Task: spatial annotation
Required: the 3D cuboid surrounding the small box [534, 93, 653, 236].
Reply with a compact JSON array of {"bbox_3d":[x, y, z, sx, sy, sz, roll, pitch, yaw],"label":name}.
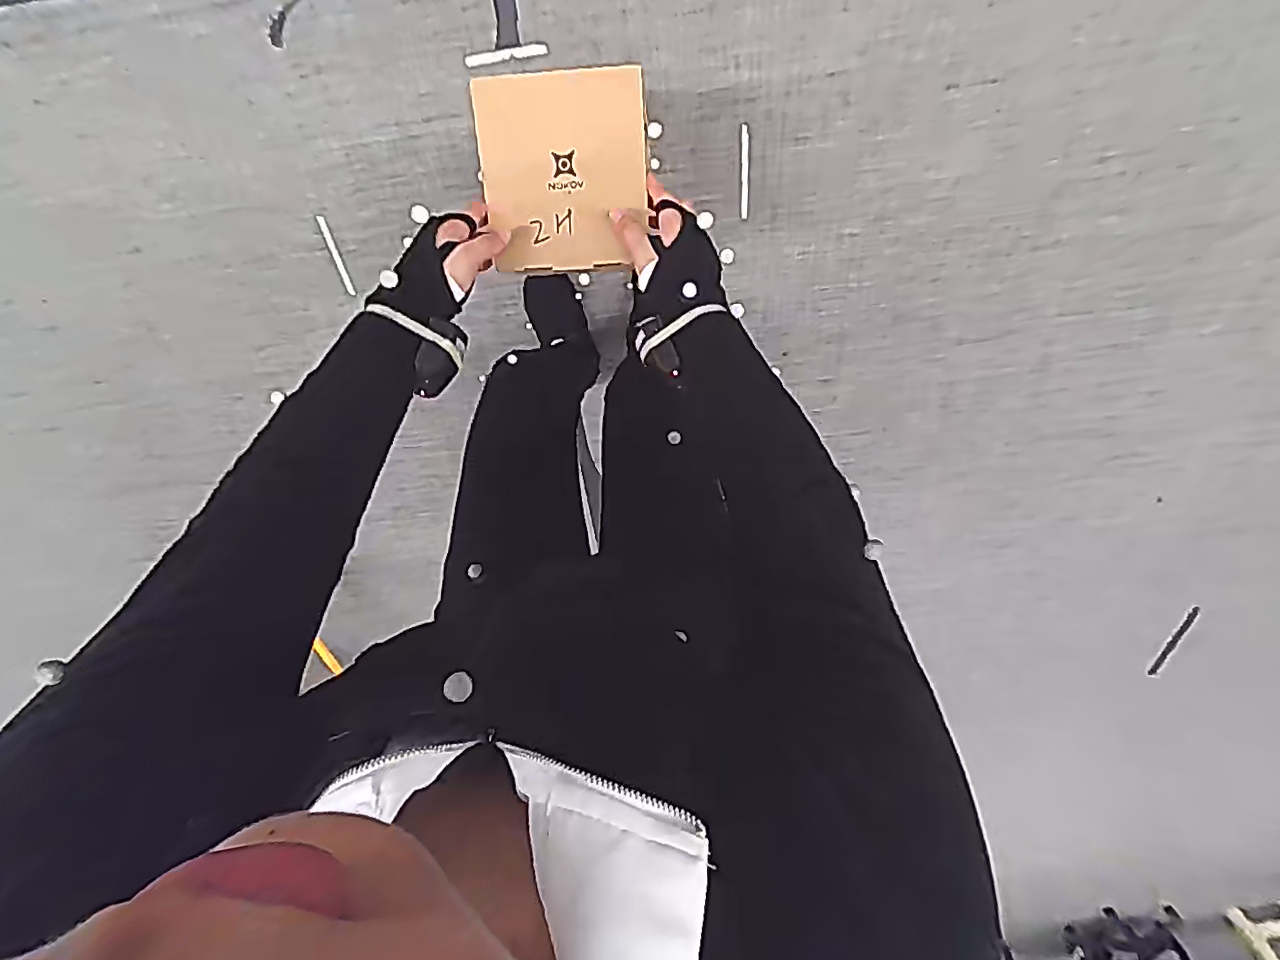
[{"bbox_3d":[-0.067,-0.532,0.908,0.168,0.176,0.179,-6,127,4],"label":"small box"}]
